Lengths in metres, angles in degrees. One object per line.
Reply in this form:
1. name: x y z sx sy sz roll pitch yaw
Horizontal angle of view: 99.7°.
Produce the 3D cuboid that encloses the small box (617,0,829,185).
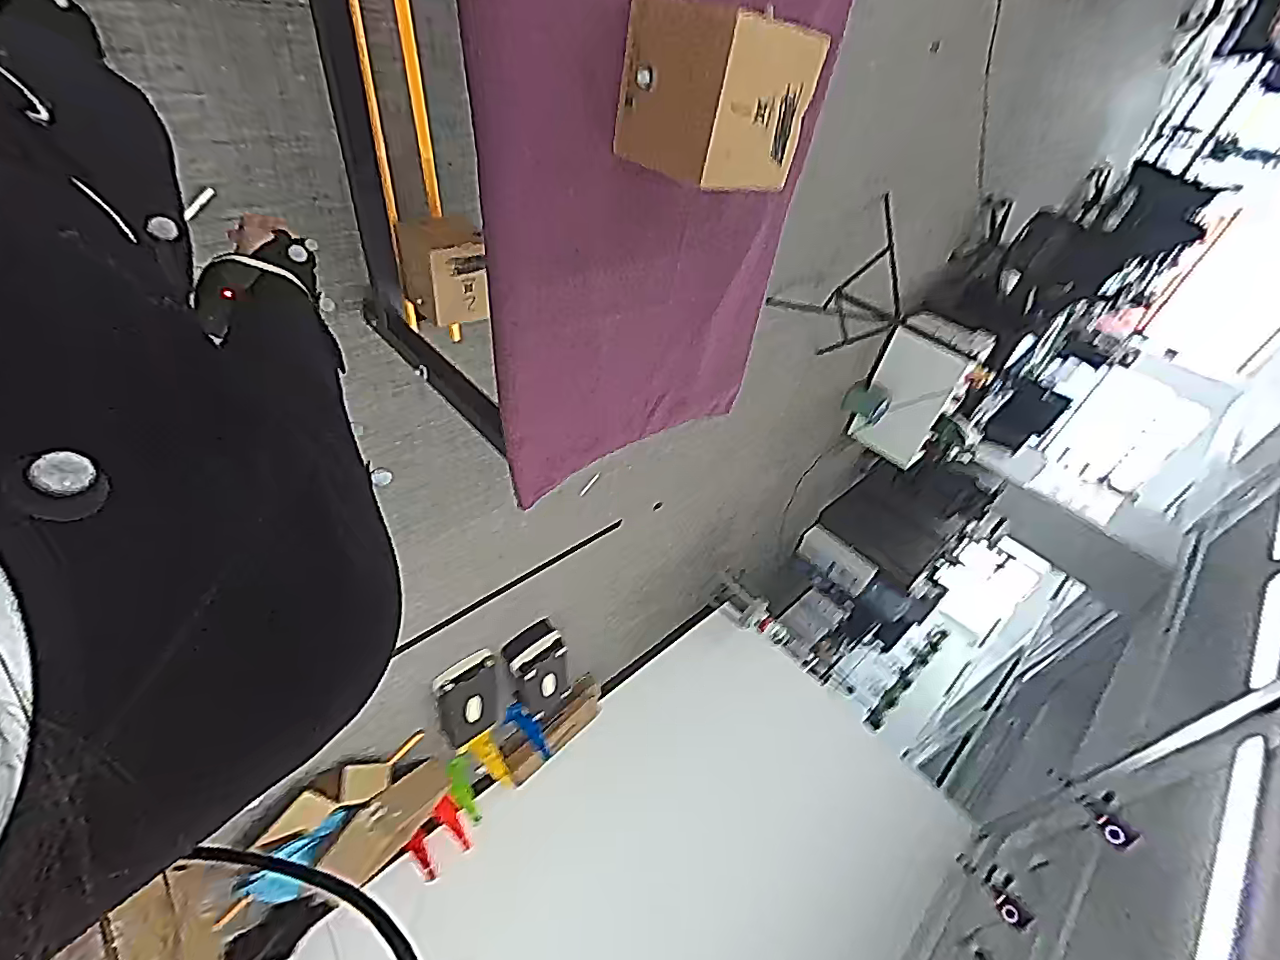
1. small box: 0.098 -0.490 0.686 0.179 0.176 0.168 -24 142 -37
